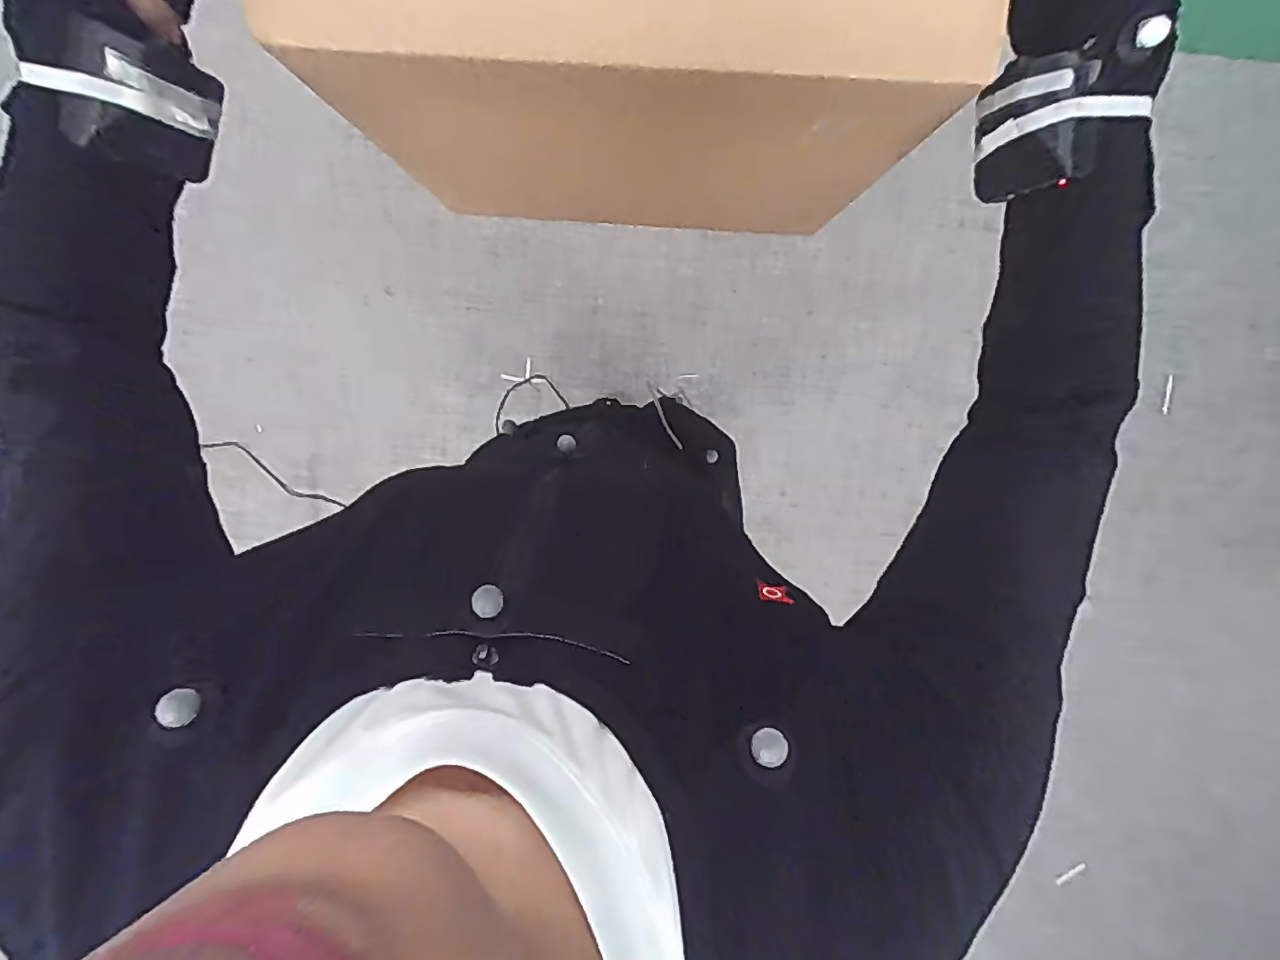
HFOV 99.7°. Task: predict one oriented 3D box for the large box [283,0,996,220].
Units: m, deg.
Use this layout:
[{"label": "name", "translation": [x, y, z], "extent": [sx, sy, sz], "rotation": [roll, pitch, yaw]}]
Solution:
[{"label": "large box", "translation": [0.003, -0.414, 0.424], "extent": [0.408, 0.320, 0.320], "rotation": [3, 101, 0]}]
